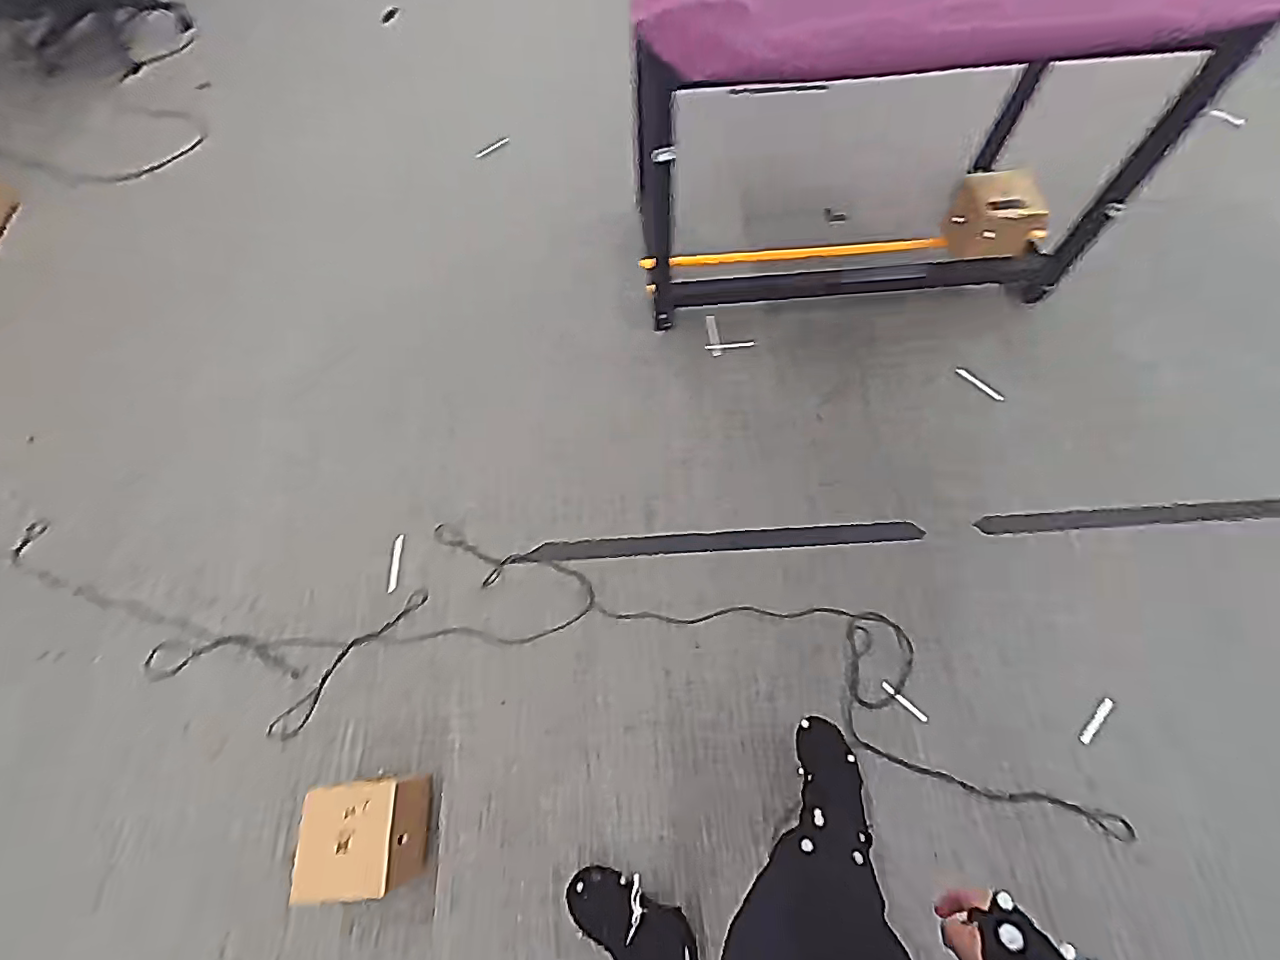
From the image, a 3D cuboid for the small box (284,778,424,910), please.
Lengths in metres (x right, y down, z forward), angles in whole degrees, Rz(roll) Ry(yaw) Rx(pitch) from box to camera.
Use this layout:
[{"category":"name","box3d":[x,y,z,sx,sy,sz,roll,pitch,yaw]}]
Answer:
[{"category":"small box","box3d":[-0.523,0.673,1.017,0.168,0.176,0.179,-4,65,-1]}]
